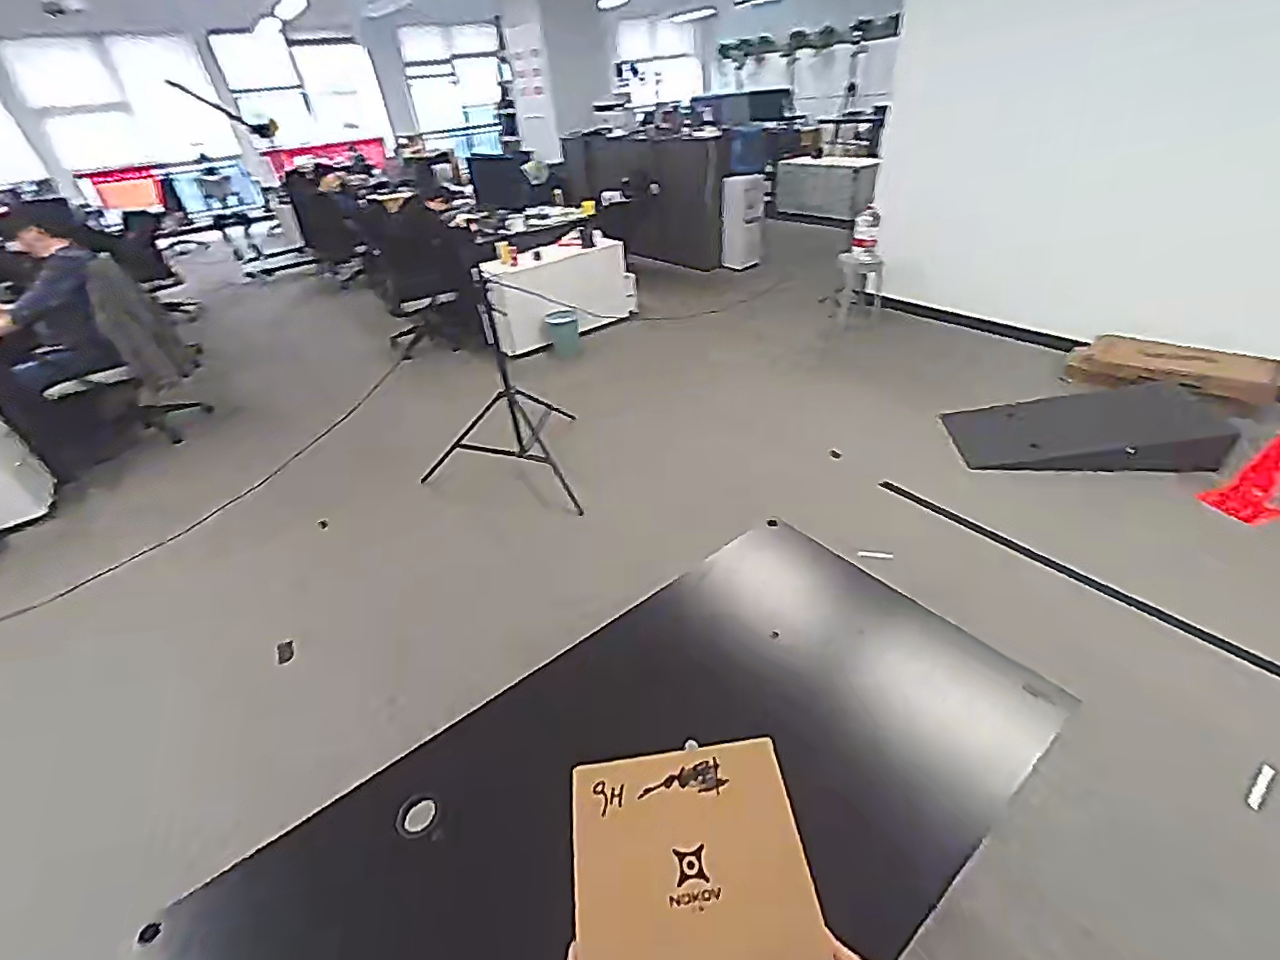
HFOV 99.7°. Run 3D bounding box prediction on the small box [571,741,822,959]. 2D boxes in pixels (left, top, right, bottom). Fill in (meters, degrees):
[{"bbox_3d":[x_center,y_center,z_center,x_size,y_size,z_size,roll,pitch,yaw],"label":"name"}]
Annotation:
[{"bbox_3d":[0.040,0.342,0.437,0.168,0.176,0.179,-8,43,-2],"label":"small box"}]
